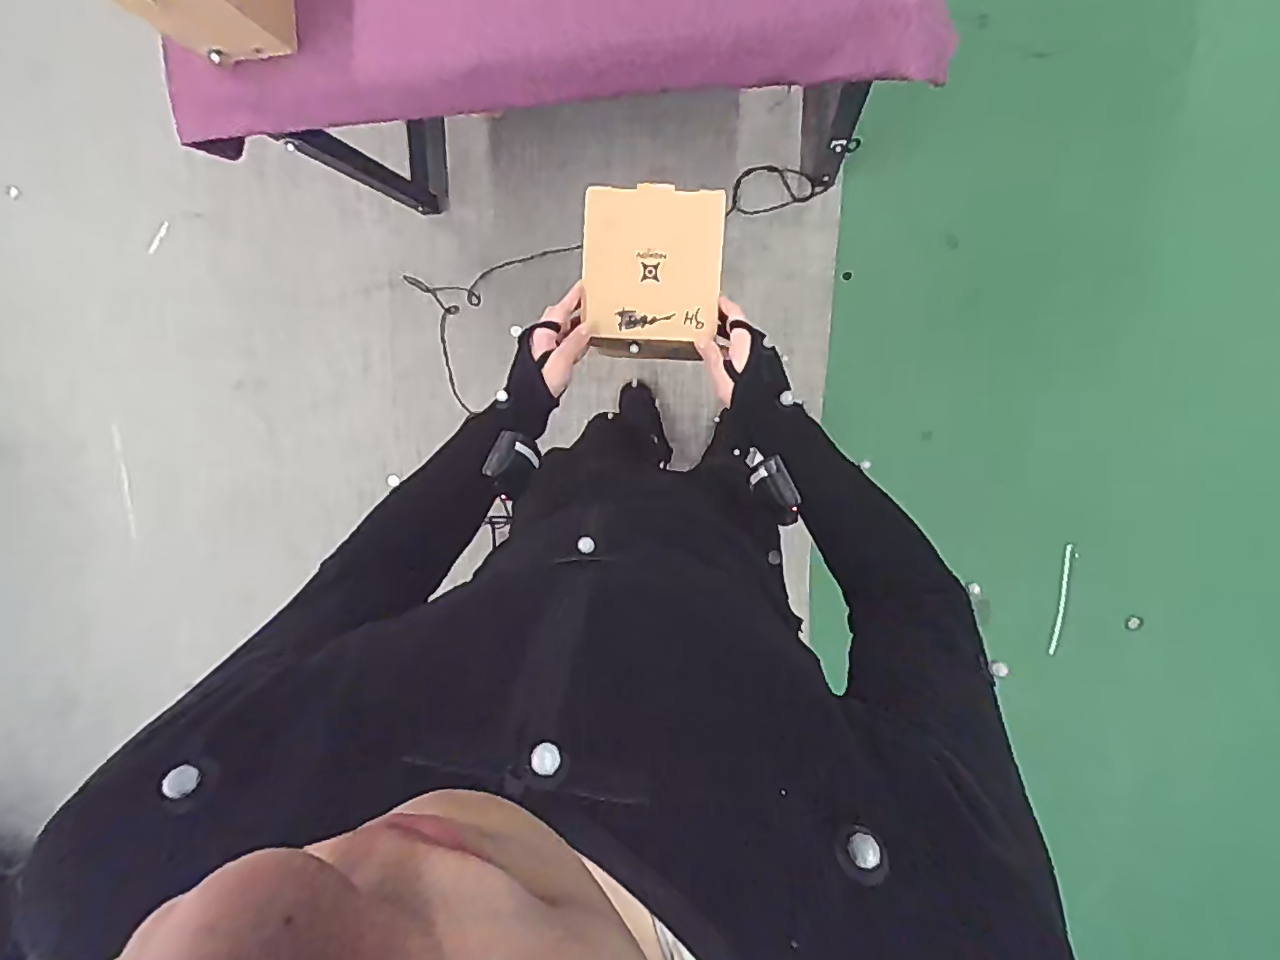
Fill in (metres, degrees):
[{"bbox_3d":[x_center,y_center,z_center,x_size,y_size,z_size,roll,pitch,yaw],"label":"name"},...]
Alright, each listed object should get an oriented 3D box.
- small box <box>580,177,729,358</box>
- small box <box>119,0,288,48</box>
[{"bbox_3d":[0.019,-0.265,0.709,0.168,0.176,0.179,4,95,3],"label":"small box"},{"bbox_3d":[-0.650,-0.770,0.788,0.168,0.176,0.179,3,100,10],"label":"small box"}]
